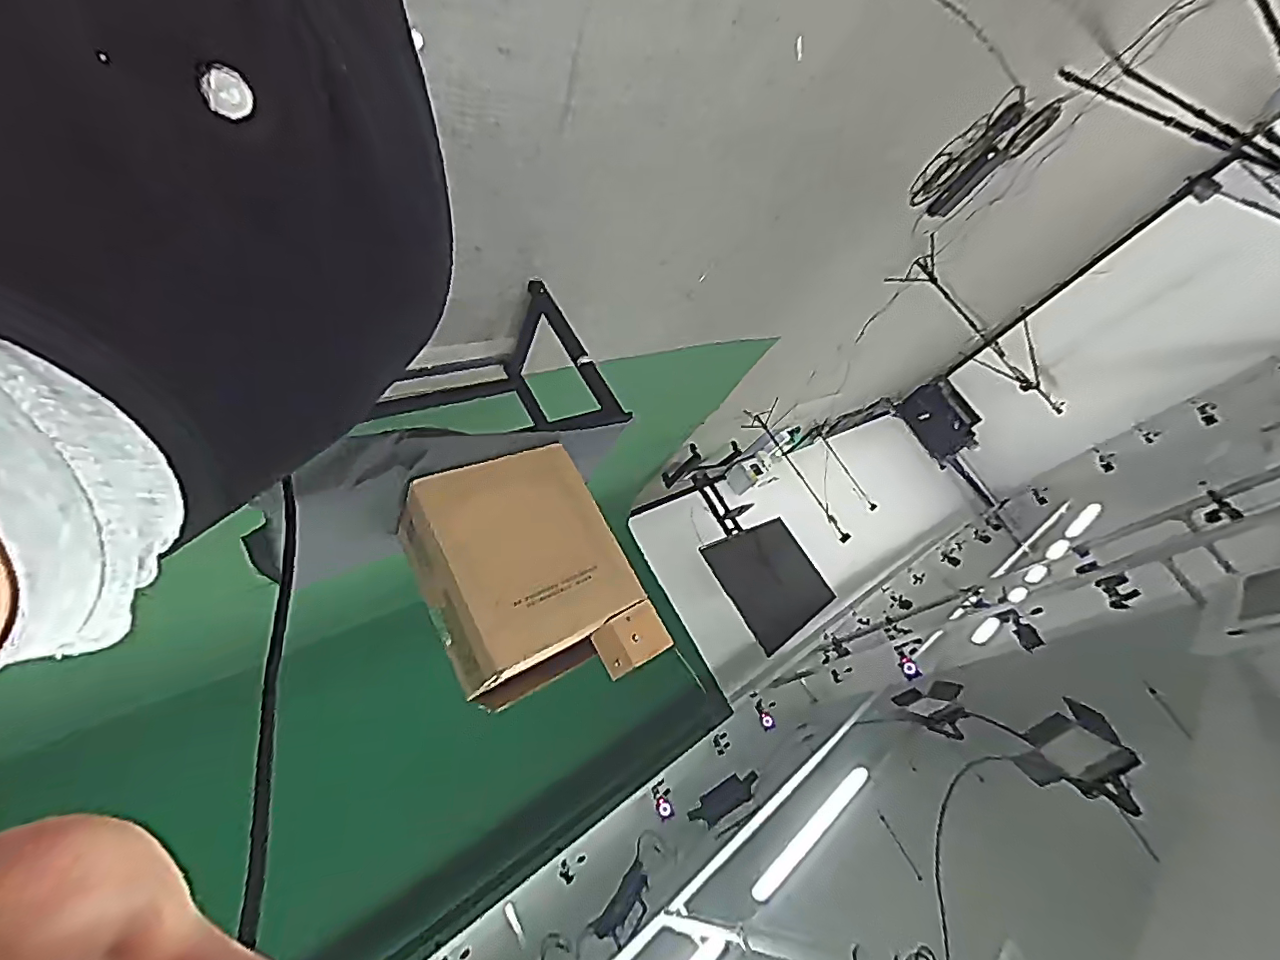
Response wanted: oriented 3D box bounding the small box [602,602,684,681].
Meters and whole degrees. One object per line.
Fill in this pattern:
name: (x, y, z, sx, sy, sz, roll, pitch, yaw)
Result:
small box: (0.002, 0.516, 1.747, 0.168, 0.176, 0.179, -20, 161, -38)
